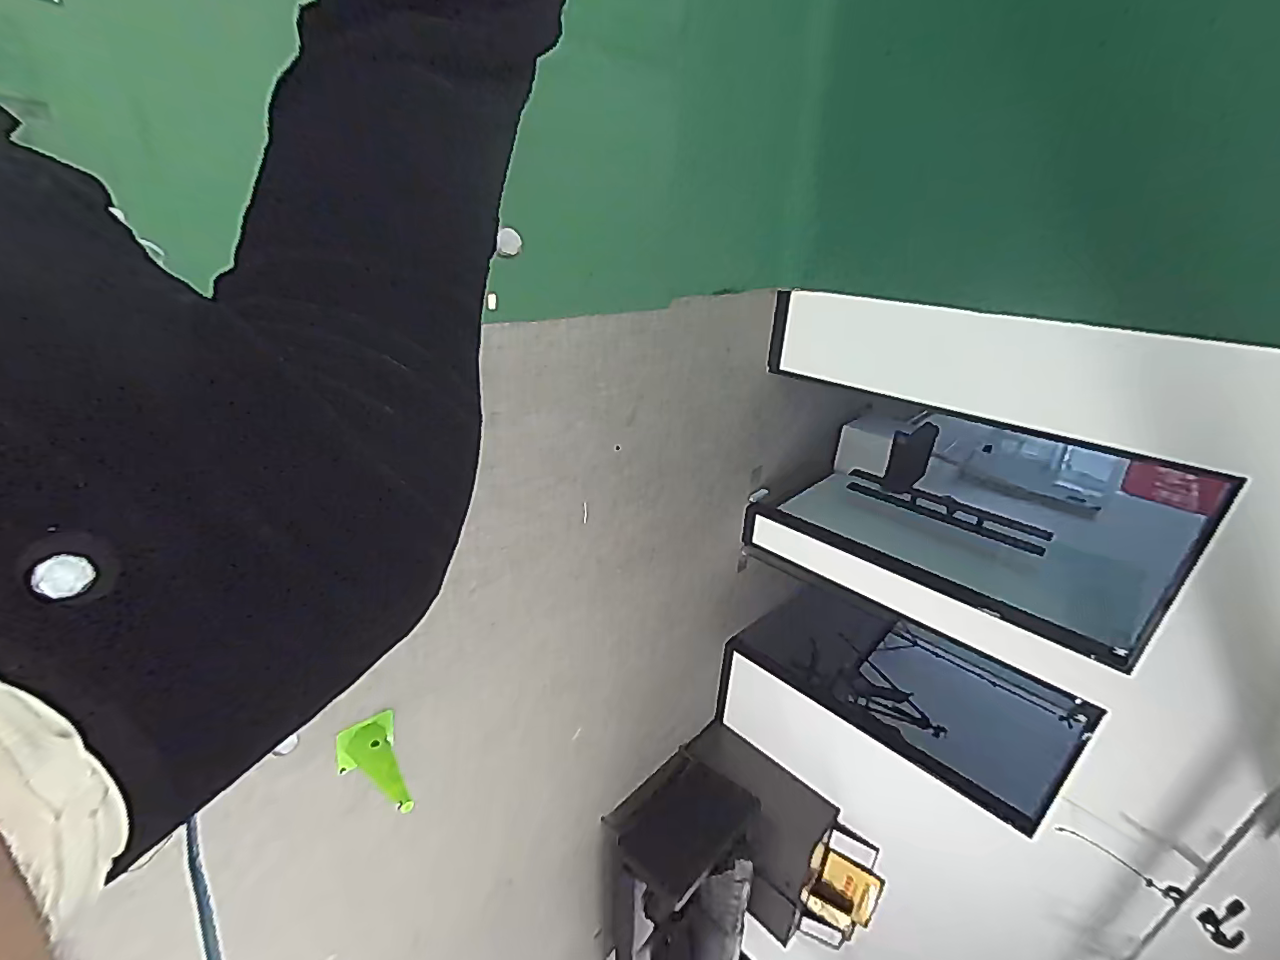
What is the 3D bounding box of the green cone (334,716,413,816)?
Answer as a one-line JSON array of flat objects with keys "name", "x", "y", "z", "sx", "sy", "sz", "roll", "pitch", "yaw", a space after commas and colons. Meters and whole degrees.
[{"name": "green cone", "x": -0.900, "y": 1.047, "z": 1.907, "sx": 0.200, "sy": 0.368, "sz": 0.202, "roll": -15, "pitch": 119, "yaw": -46}]
